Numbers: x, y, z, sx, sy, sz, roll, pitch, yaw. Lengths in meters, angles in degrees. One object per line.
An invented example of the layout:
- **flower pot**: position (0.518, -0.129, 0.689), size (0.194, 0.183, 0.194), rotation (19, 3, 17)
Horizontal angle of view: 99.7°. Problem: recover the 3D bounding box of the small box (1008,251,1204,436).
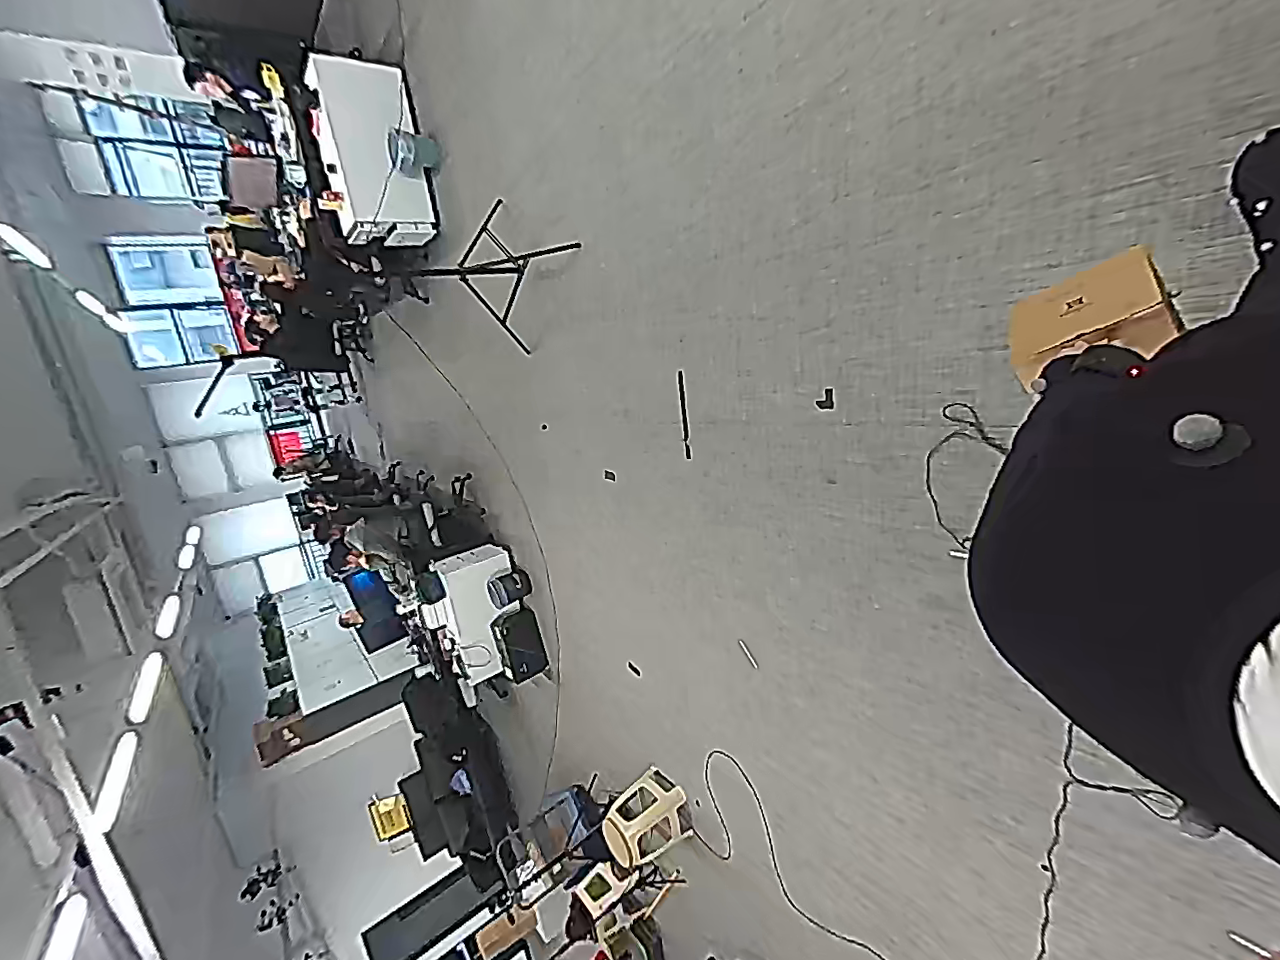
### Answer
- **small box**: position (0.660, -0.184, 0.779), size (0.176, 0.179, 0.168), rotation (47, 140, -16)
